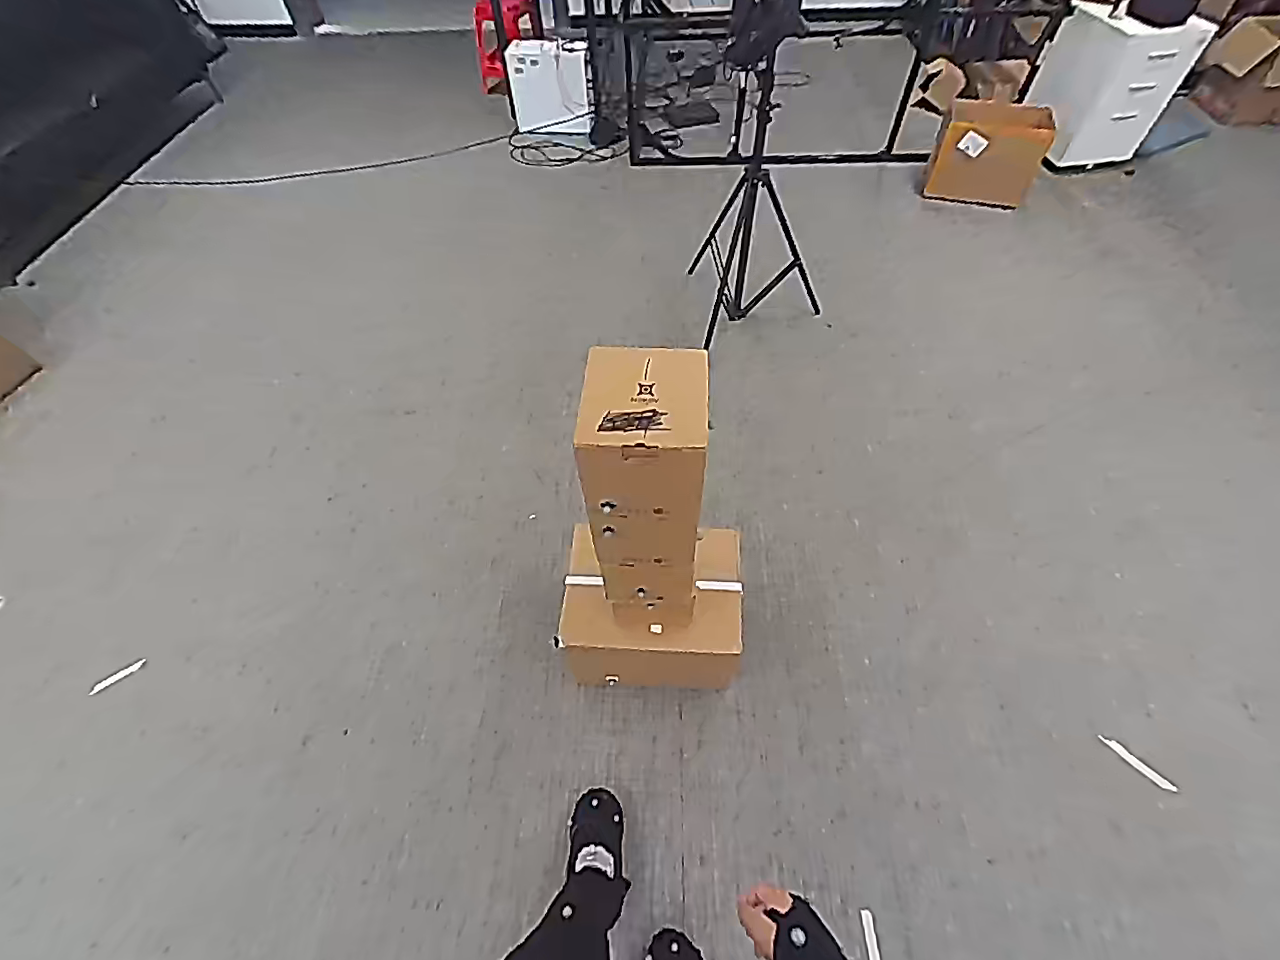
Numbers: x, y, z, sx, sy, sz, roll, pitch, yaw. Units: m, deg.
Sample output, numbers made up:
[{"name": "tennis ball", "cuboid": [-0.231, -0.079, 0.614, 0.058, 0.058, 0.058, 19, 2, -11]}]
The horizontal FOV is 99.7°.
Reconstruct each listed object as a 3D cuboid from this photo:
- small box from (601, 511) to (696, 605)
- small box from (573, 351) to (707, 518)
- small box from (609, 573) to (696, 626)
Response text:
[{"name": "small box", "cuboid": [0.019, 0.124, 1.037, 0.168, 0.176, 0.179, 0, 56, 3]}, {"name": "small box", "cuboid": [0.009, -0.060, 0.766, 0.168, 0.176, 0.179, 2, 55, 4]}, {"name": "small box", "cuboid": [0.029, 0.211, 1.175, 0.179, 0.176, 0.168, 0, 56, 1]}]
